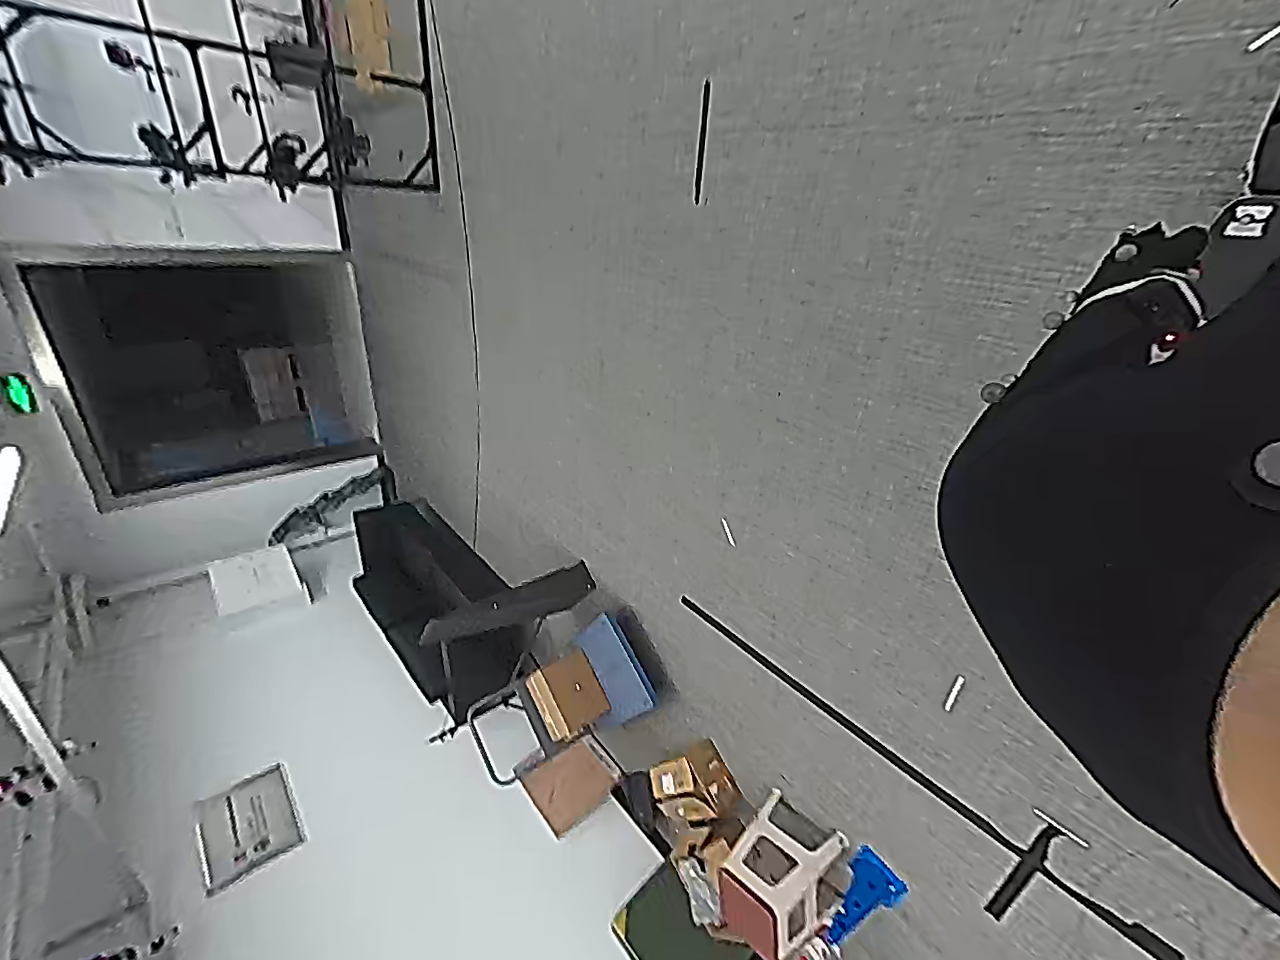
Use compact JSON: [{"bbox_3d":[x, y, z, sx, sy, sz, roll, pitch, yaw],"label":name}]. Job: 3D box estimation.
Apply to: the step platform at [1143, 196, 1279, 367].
[{"bbox_3d":[1.304,-0.305,0.892,0.684,0.204,0.286,30,126,43],"label":"step platform"}]
